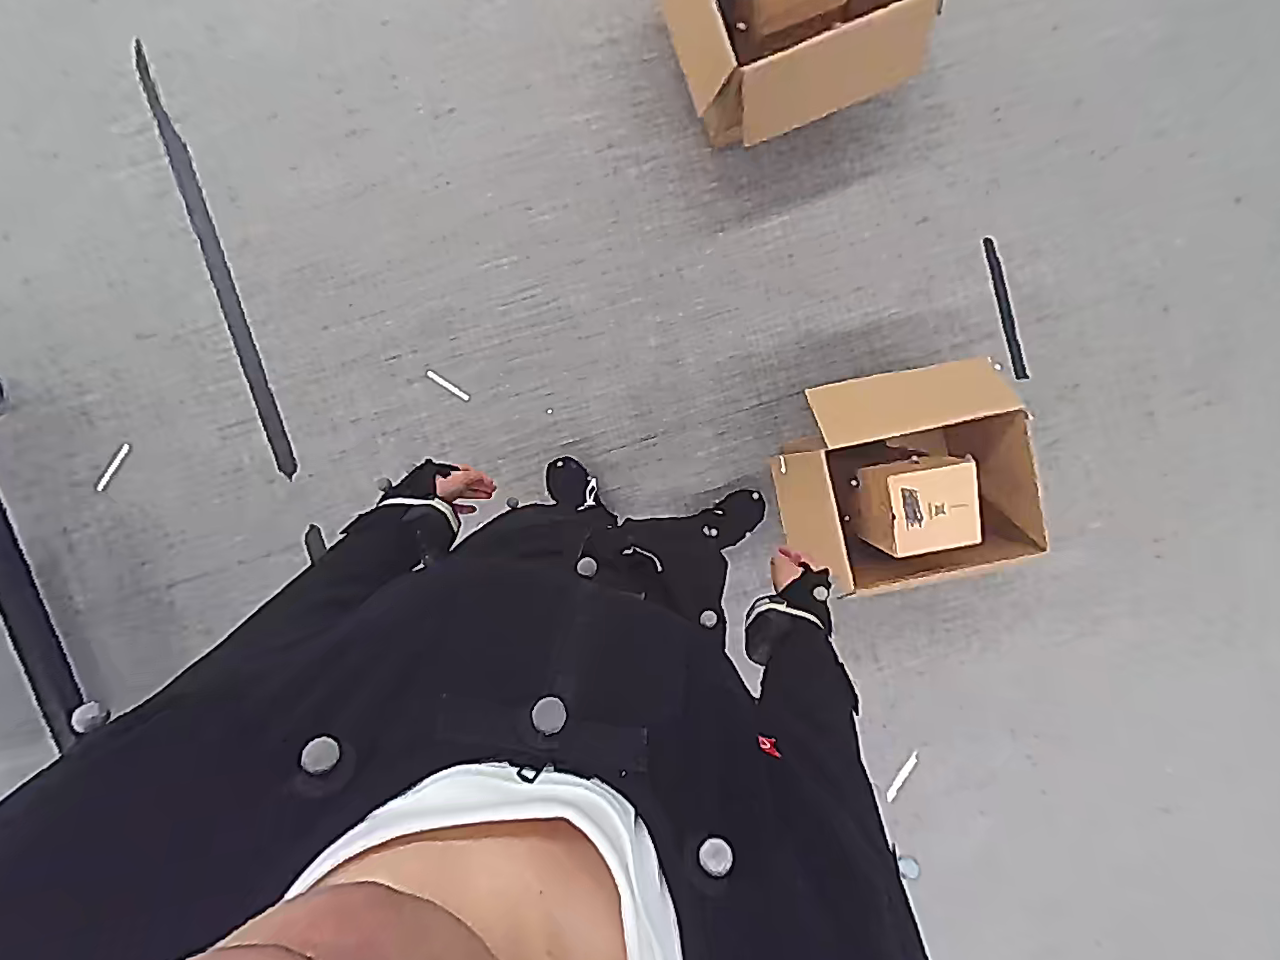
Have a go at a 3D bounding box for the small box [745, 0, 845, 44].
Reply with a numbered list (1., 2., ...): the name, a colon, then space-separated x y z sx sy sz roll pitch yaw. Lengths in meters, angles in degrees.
1. small box: 0.302 -0.984 1.021 0.179 0.176 0.168 -18 95 1

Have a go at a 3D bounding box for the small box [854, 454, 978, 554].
1. small box: 0.564 0.043 1.127 0.179 0.176 0.168 -10 99 -2
